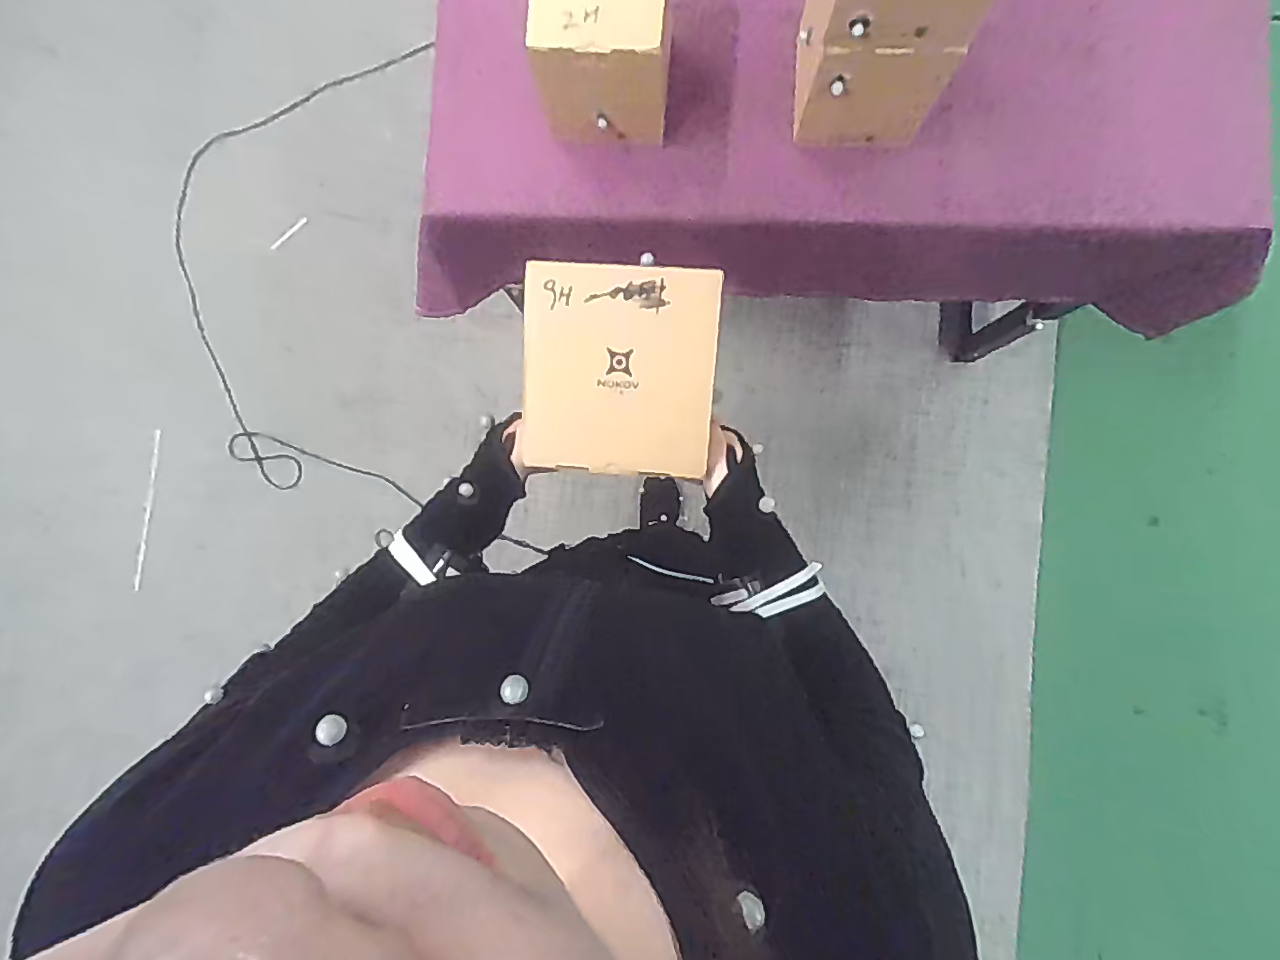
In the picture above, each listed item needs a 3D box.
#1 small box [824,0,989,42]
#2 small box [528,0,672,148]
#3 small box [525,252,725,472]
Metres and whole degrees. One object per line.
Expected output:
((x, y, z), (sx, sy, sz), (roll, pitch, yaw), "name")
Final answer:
((0.292, -0.590, 0.548), (0.168, 0.176, 0.179), (3, 85, 4), "small box")
((-0.044, -0.592, 0.734), (0.168, 0.176, 0.179), (4, 86, 4), "small box")
((-0.010, -0.114, 0.534), (0.168, 0.176, 0.179), (4, 102, 4), "small box")
